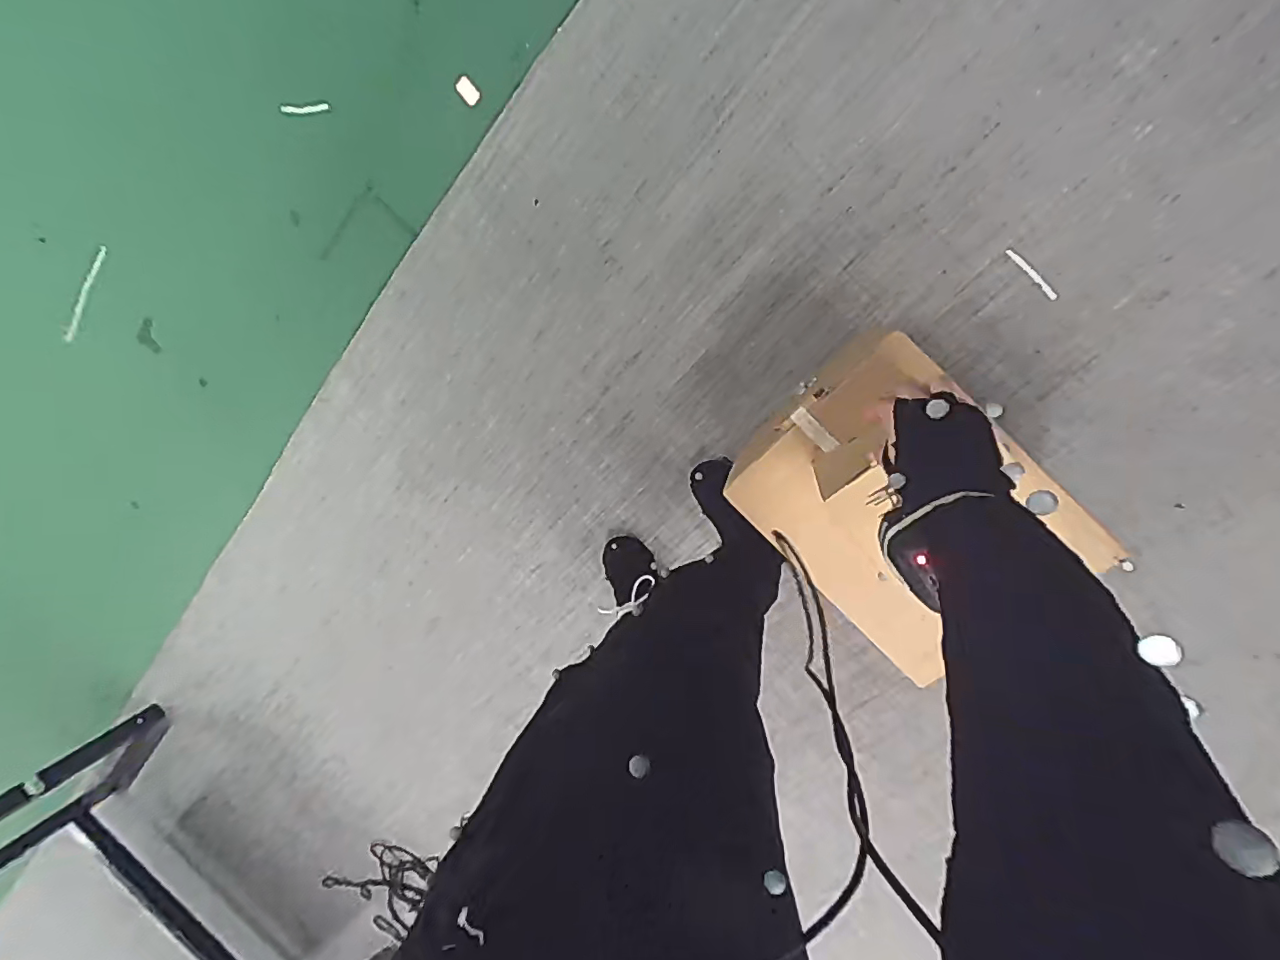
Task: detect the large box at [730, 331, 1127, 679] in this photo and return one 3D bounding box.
[{"bbox_3d":[0.399,0.012,0.860,0.408,0.320,0.320,44,112,-1],"label":"large box"}]
